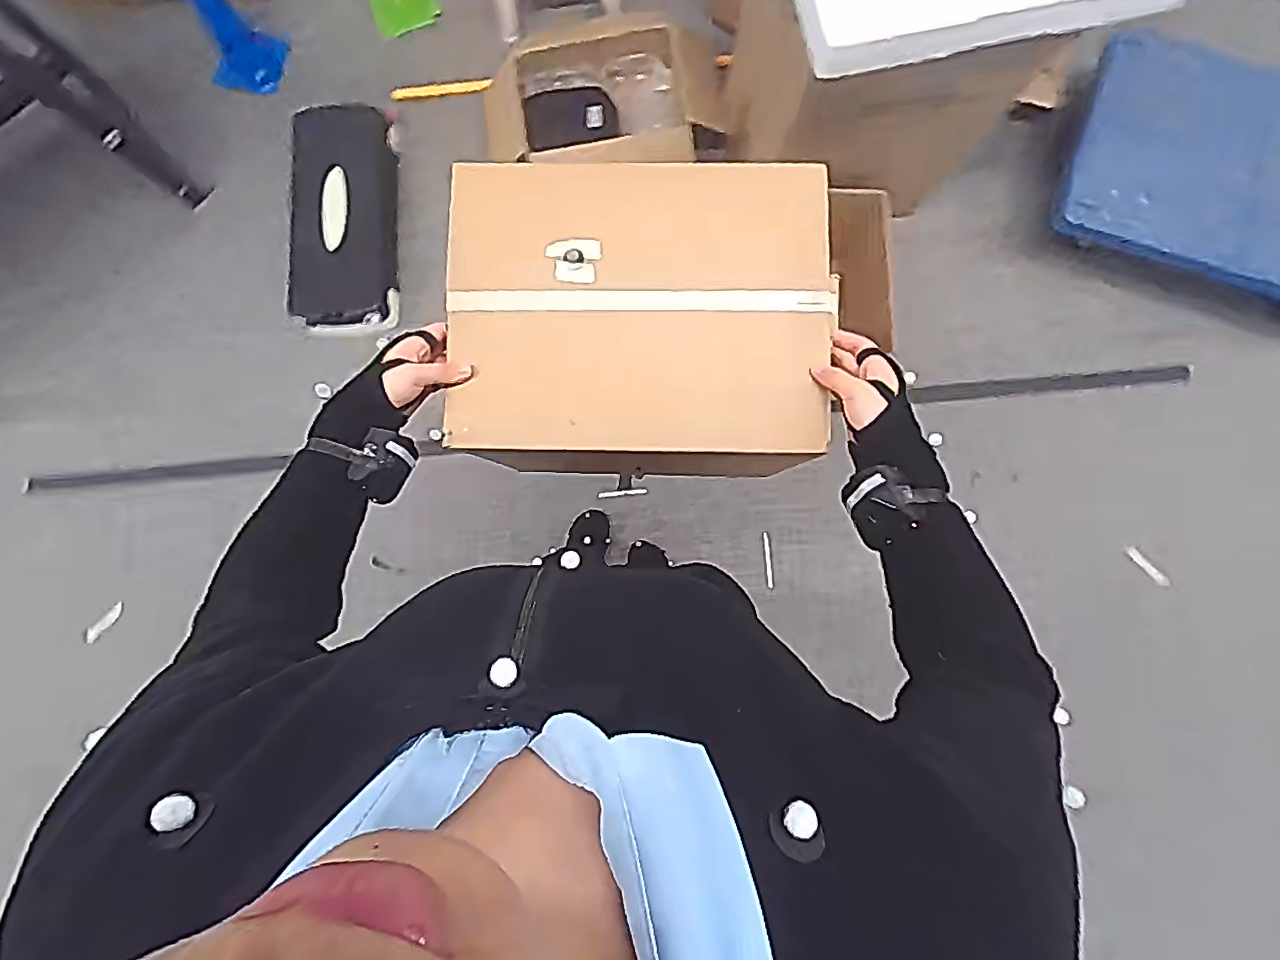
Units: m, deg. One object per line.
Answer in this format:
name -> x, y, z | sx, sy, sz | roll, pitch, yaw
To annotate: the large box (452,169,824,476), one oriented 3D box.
large box -> 0.002, -0.171, 0.732 | 0.408, 0.320, 0.320 | 0, 84, 3
